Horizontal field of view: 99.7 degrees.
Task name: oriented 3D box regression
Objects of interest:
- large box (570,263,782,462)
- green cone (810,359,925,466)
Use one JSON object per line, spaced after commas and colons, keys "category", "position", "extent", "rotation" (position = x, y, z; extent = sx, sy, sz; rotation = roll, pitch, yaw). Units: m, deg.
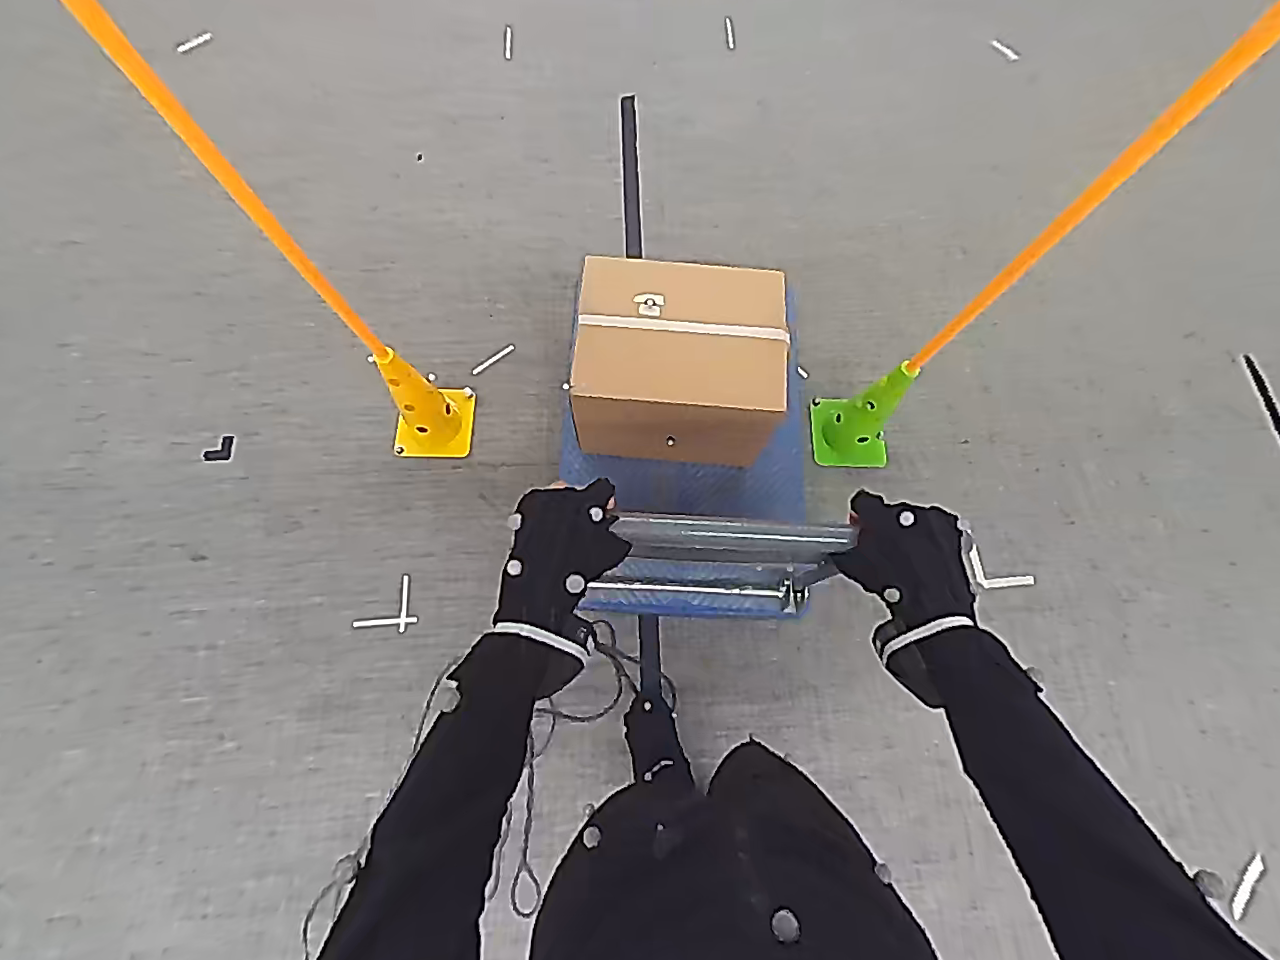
{"category": "large box", "position": [0.076, -0.239, 1.190], "extent": [0.408, 0.320, 0.320], "rotation": [4, 72, 1]}
{"category": "green cone", "position": [0.586, -0.186, 1.339], "extent": [0.202, 0.368, 0.200], "rotation": [2, 72, -2]}
